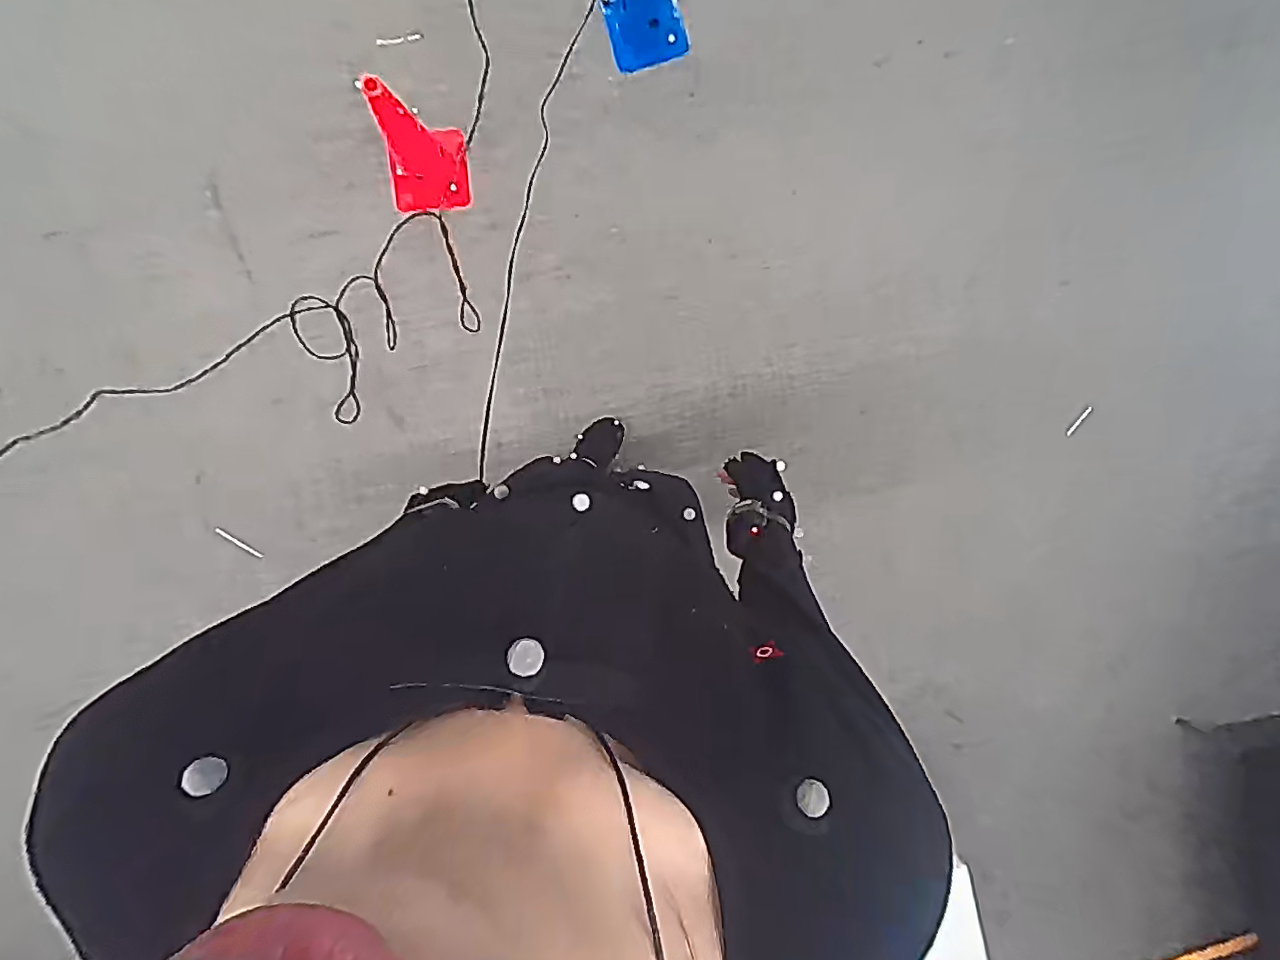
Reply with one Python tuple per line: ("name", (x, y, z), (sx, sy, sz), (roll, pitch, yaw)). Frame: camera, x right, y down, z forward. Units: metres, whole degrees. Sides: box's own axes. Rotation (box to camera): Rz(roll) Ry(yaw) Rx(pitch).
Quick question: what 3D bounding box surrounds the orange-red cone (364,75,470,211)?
("orange-red cone", (-0.541, -0.797, 1.244), (0.198, 0.360, 0.199), (-6, 93, -3))
